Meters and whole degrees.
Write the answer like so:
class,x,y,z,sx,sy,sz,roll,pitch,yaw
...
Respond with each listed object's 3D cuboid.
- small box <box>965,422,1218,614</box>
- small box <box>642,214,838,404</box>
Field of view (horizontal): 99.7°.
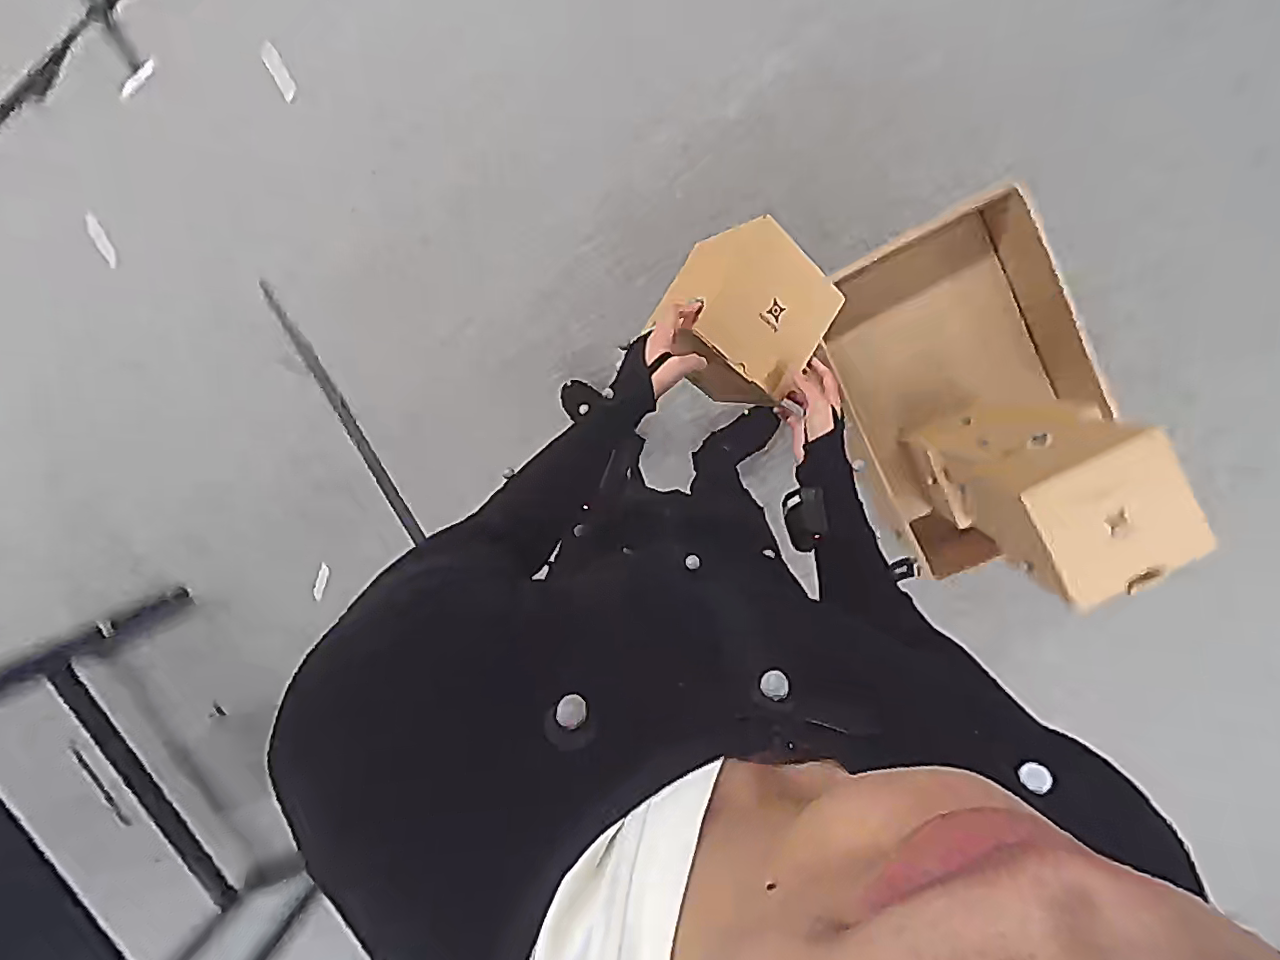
class,x,y,z,sx,sy,sz,roll,pitch,yaw
small box,0.578,0.040,0.718,0.168,0.176,0.179,-29,97,12
small box,0.129,-0.226,0.752,0.168,0.176,0.179,32,86,-27
